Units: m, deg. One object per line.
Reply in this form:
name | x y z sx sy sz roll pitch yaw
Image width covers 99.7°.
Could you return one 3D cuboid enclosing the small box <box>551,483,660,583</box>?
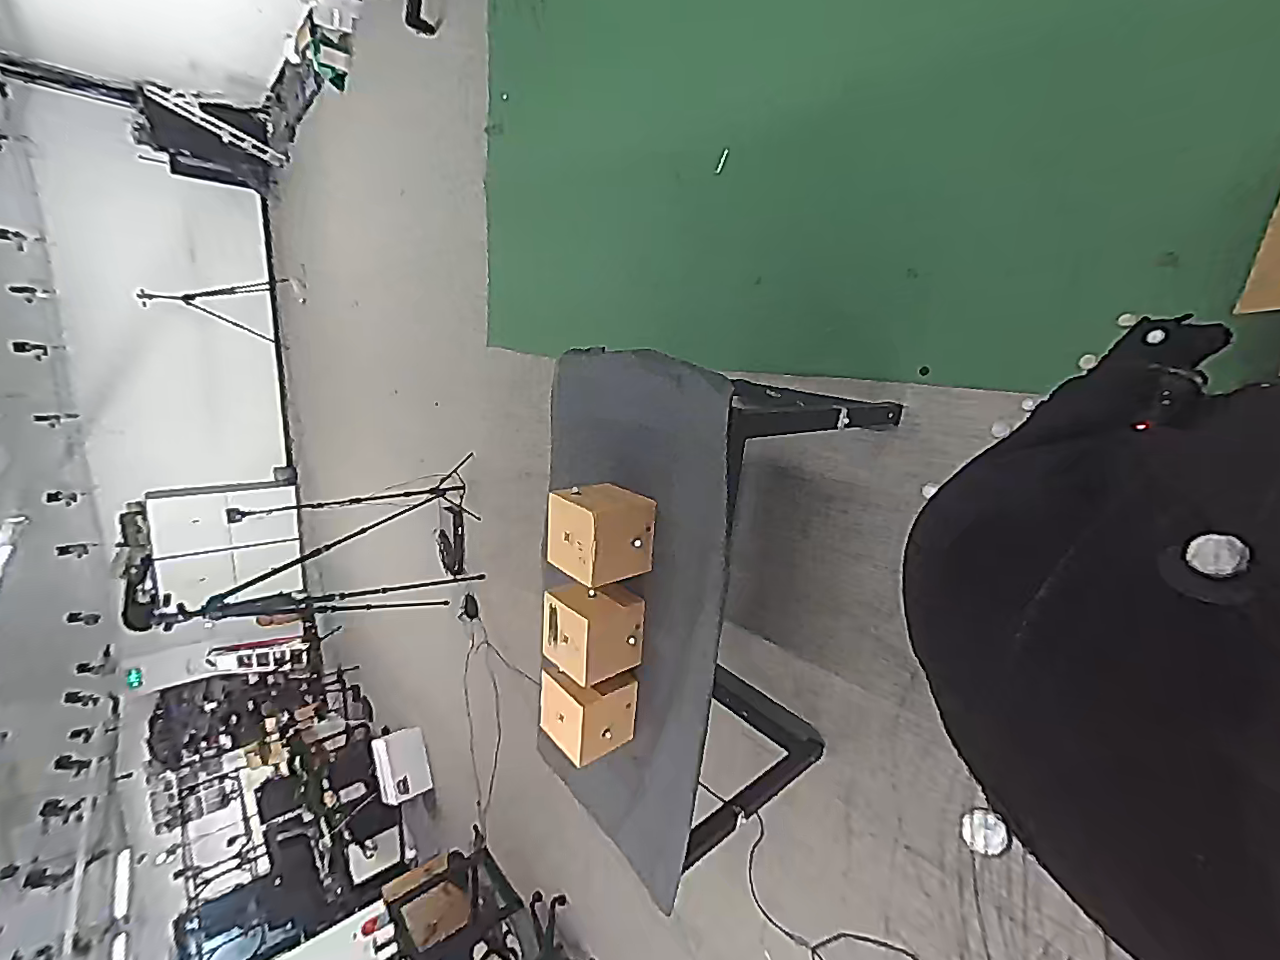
small box | -0.078 0.107 1.199 0.179 0.176 0.168 19 111 46
